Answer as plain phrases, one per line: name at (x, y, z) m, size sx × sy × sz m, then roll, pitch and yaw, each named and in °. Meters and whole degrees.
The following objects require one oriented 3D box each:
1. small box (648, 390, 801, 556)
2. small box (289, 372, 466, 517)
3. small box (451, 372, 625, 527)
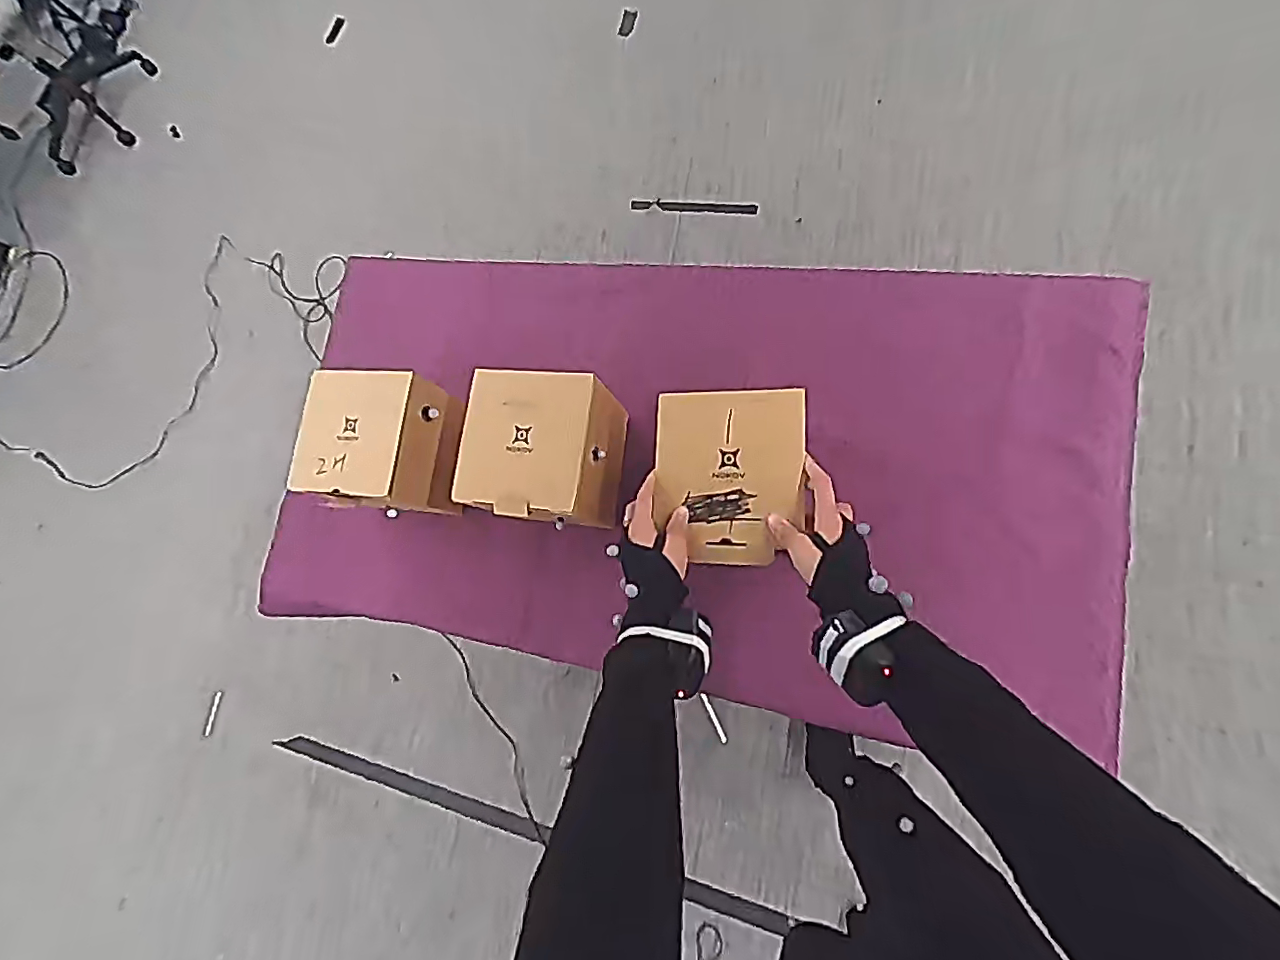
small box at (0.112, 0.001, 0.669) m, size 0.168 × 0.176 × 0.179 m, roll 0°, pitch 79°, yaw 15°
small box at (-0.369, -0.046, 0.803) m, size 0.168 × 0.176 × 0.179 m, roll 4°, pitch 81°, yaw 16°
small box at (-0.127, -0.034, 0.740) m, size 0.168 × 0.176 × 0.179 m, roll 5°, pitch 80°, yaw 15°
